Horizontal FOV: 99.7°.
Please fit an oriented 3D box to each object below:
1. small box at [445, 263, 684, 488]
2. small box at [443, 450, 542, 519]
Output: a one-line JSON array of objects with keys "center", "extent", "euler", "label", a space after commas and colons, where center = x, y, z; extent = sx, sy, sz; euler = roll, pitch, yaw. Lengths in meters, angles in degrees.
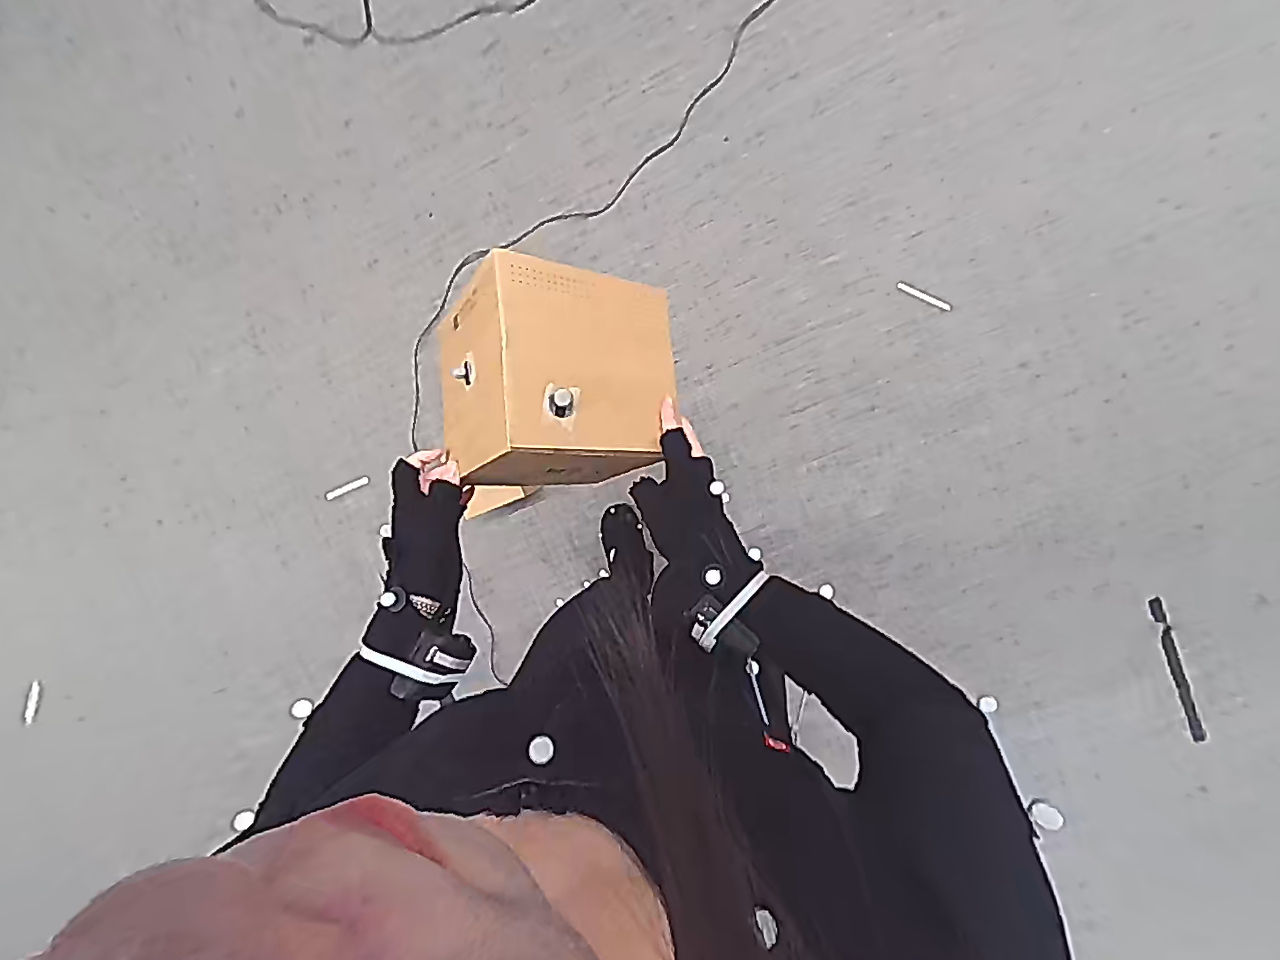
[{"center": [-0.081, -0.088, 0.529], "extent": [0.179, 0.168, 0.176], "euler": [-1, 82, -35], "label": "small box"}, {"center": [-0.375, -0.019, 1.404], "extent": [0.168, 0.176, 0.179], "euler": [-21, 95, 9], "label": "small box"}]
